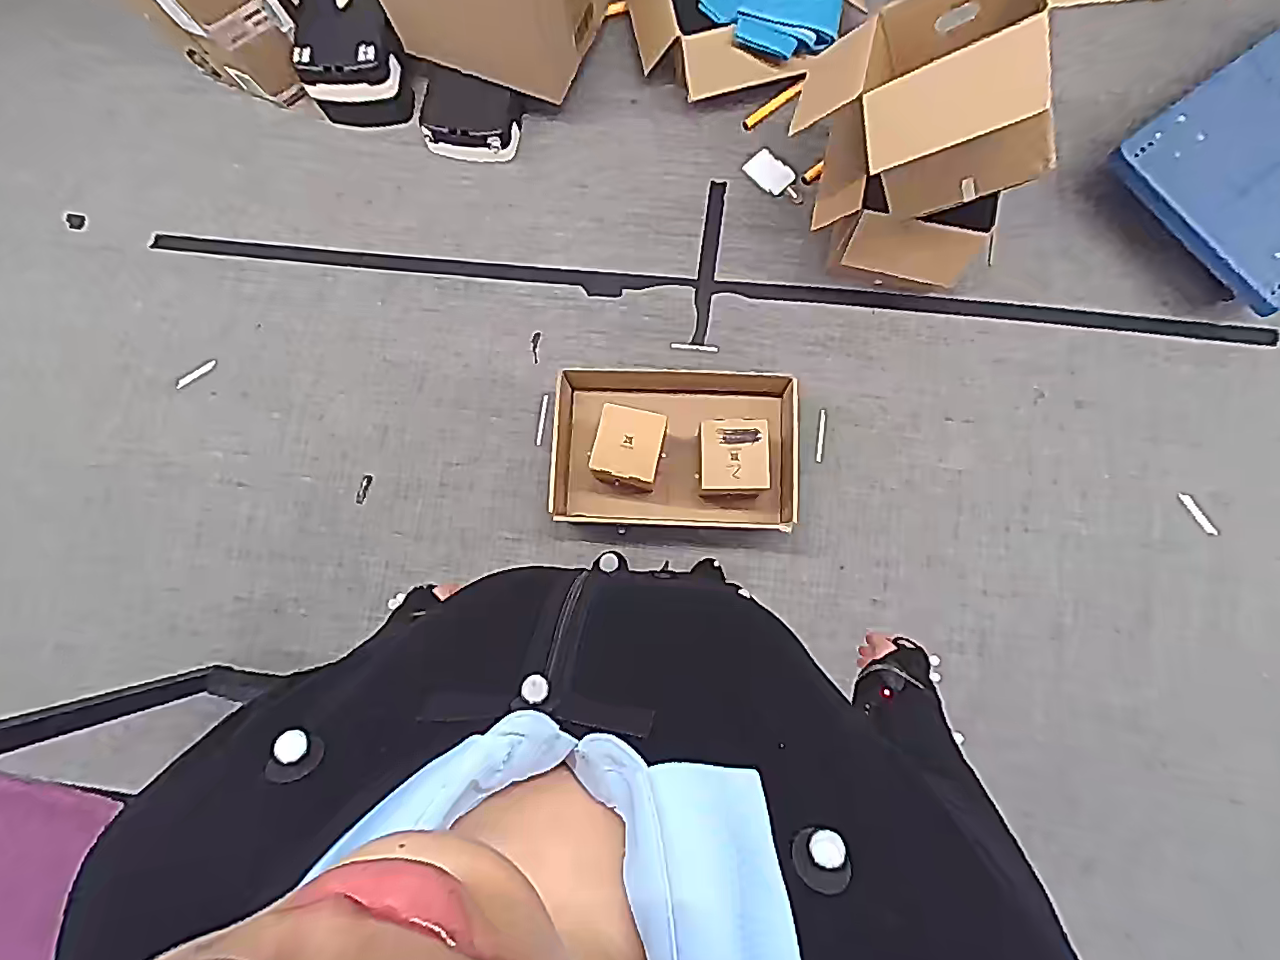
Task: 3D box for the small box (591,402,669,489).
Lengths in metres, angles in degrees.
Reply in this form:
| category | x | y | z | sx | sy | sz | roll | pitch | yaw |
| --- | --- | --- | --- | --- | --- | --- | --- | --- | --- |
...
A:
| category | x | y | z | sx | sy | sz | roll | pitch | yaw |
| --- | --- | --- | --- | --- | --- | --- | --- | --- | --- |
| small box | -0.024 | -0.084 | 1.420 | 0.168 | 0.176 | 0.179 | 13 | 83 | 3 |
